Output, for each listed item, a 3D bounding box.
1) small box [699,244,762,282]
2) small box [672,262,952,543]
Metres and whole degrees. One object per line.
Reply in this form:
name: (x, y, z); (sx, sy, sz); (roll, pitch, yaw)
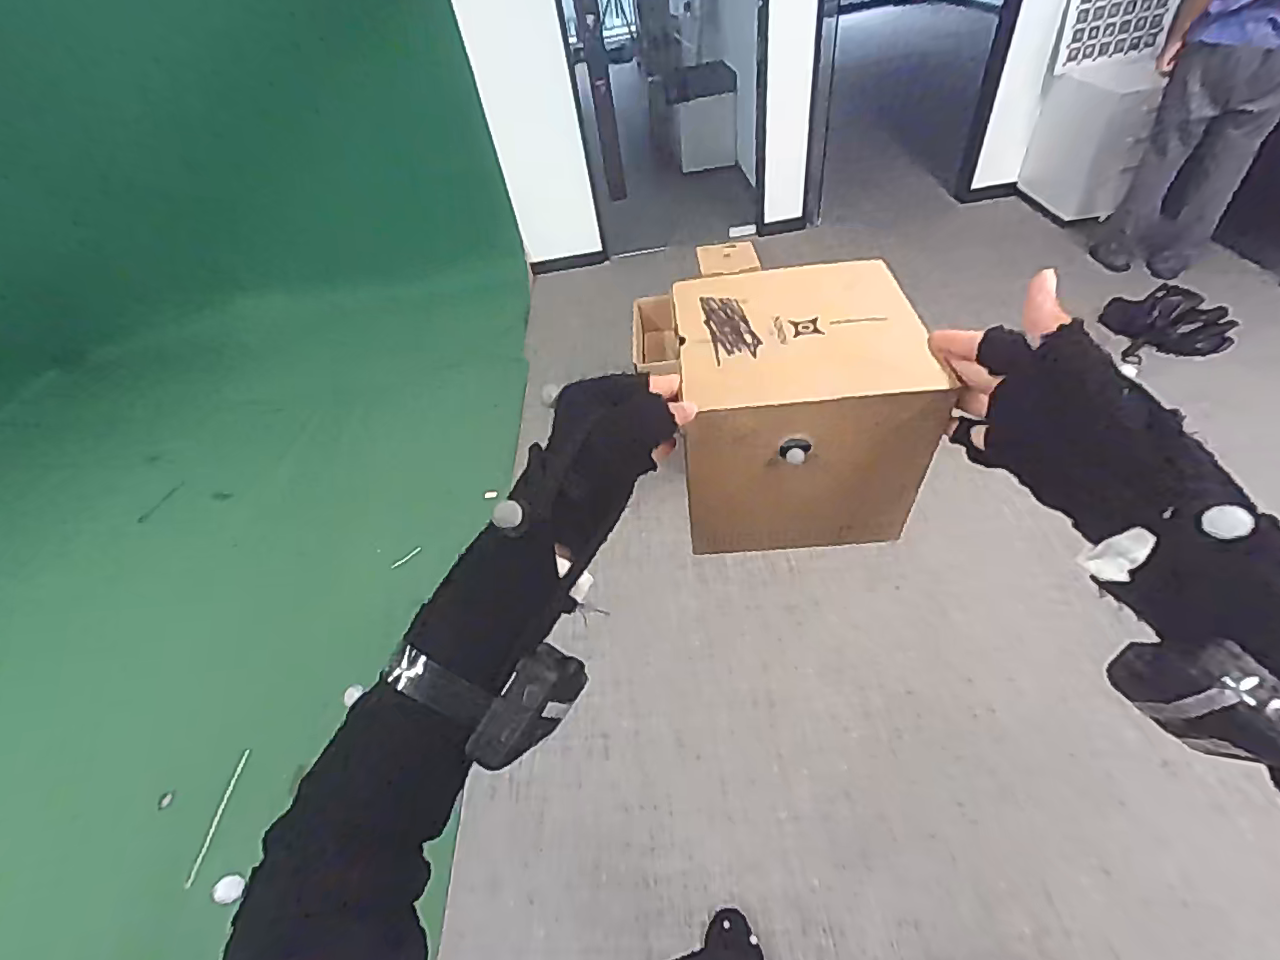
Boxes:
small box: (0.268, -0.578, 1.618); (0.168, 0.176, 0.179); (-5, 47, 4)
small box: (0.124, -0.059, 0.461); (0.179, 0.176, 0.168); (-5, 49, 5)
